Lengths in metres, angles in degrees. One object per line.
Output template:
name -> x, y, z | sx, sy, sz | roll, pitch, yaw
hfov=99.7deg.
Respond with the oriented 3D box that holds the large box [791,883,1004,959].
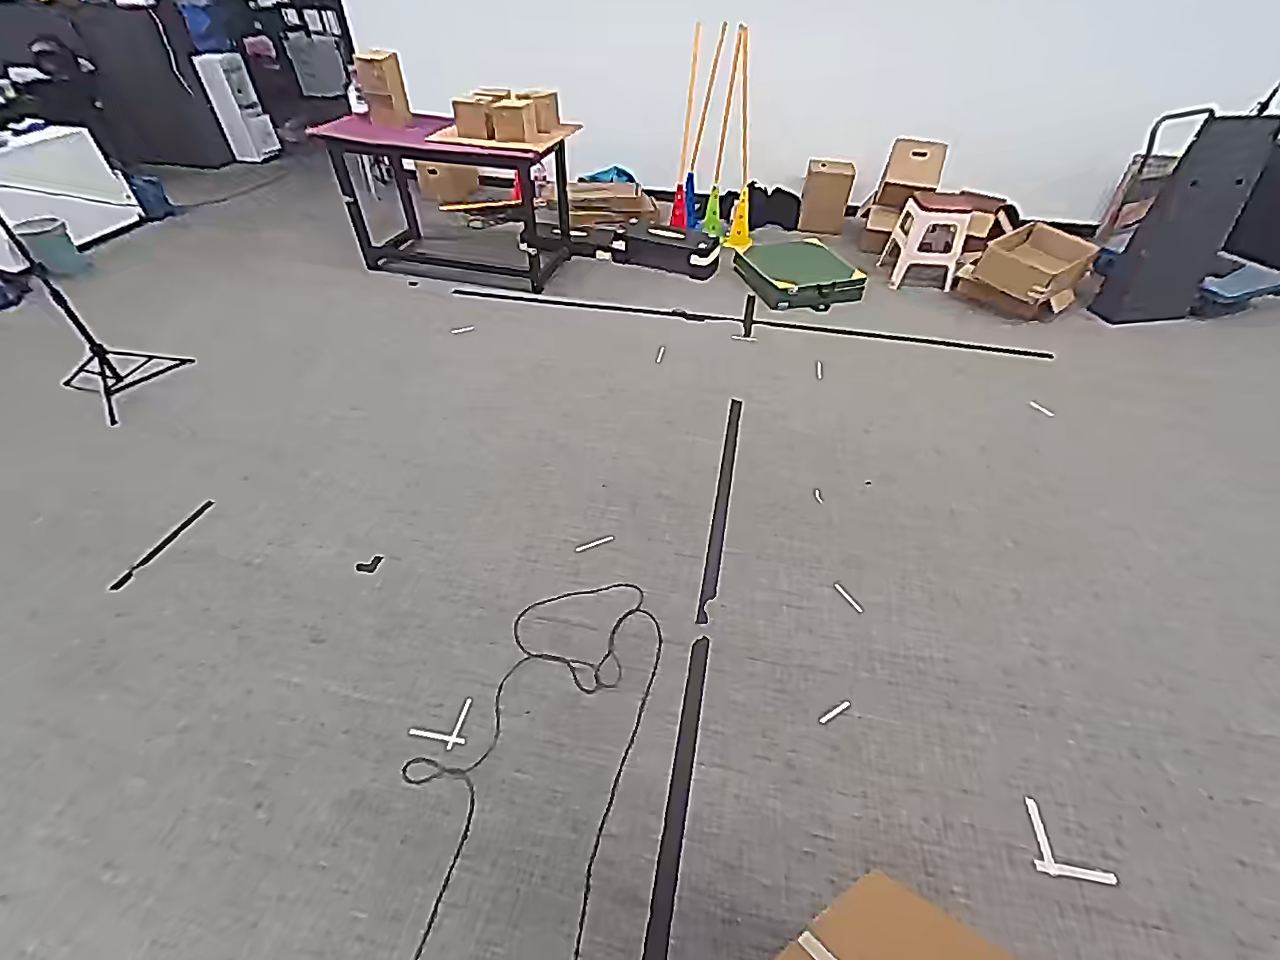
large box -> 0.371, 0.774, 0.597 | 0.320, 0.408, 0.320 | -25, 86, -21
